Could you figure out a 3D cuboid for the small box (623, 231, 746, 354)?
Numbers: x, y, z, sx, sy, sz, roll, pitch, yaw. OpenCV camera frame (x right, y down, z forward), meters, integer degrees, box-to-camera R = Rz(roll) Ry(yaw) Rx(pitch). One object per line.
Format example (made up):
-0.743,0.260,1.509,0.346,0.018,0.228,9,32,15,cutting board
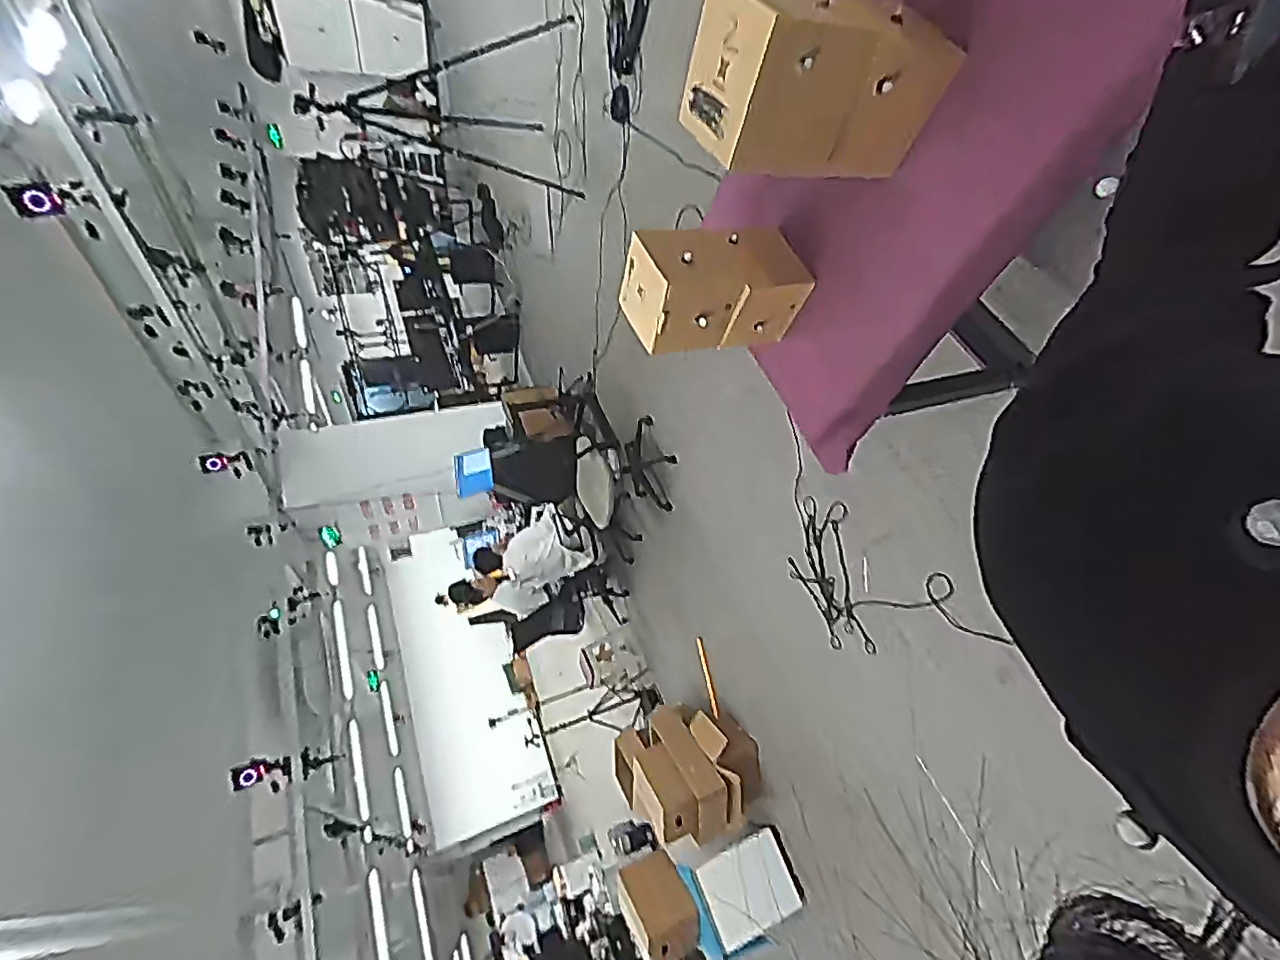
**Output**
0.086,-0.381,1.083,0.179,0.176,0.168,63,153,29,small box

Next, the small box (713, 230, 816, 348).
0.237,-0.407,1.141,0.168,0.176,0.179,114,138,-56,small box

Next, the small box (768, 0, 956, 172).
0.331,-0.595,0.811,0.179,0.176,0.168,113,139,-55,small box
